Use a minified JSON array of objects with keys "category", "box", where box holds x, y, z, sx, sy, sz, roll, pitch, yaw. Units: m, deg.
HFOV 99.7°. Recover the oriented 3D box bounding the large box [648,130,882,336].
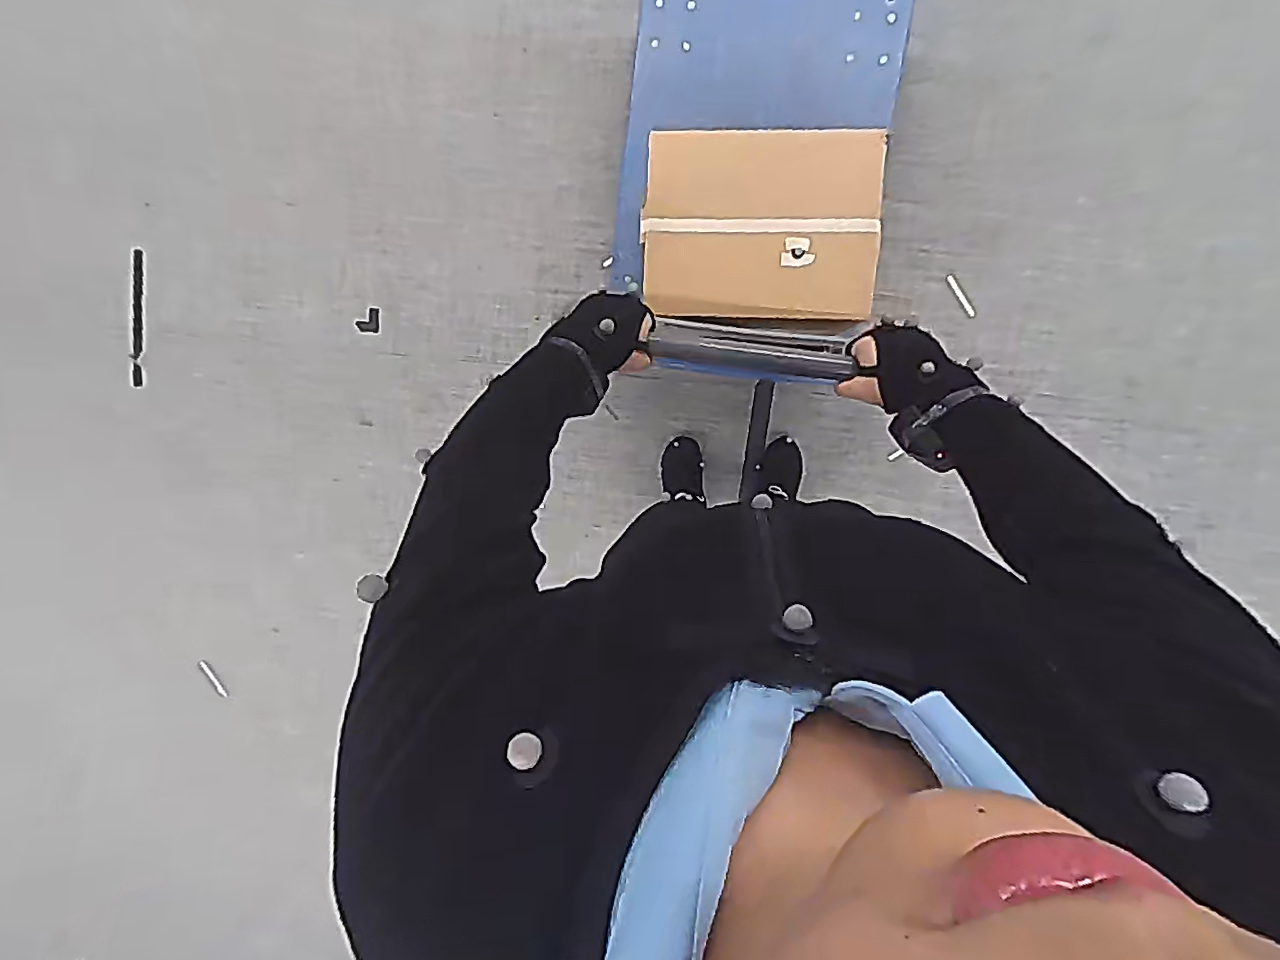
[{"category":"large box","box":[0.225,-0.472,1.105,0.408,0.320,0.320,2,99,5]}]
